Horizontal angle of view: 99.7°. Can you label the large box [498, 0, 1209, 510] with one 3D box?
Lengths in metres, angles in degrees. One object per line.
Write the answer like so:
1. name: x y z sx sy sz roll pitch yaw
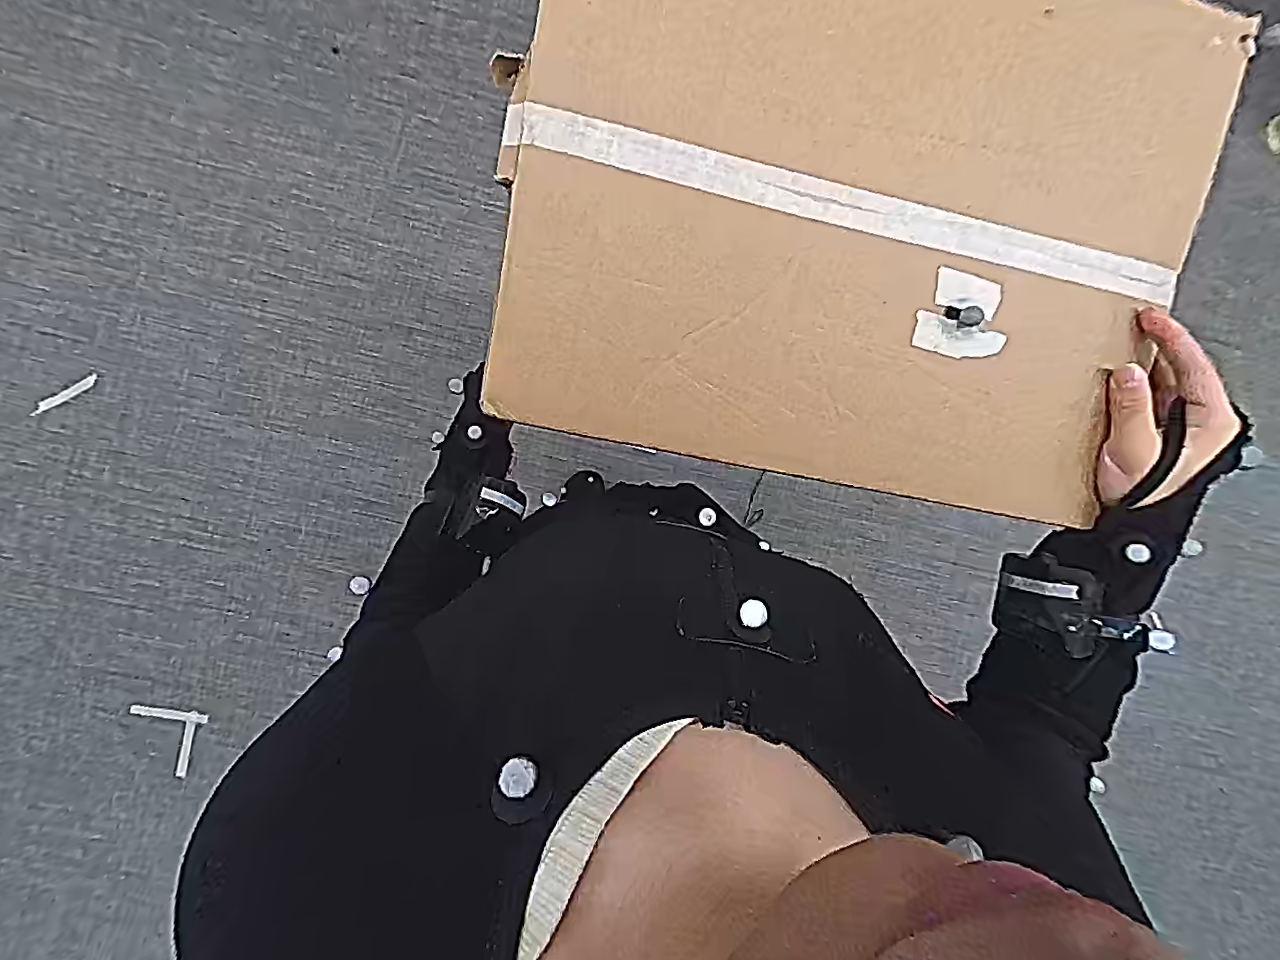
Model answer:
1. large box: 0.114 -0.180 0.471 0.408 0.320 0.320 10 99 -9
